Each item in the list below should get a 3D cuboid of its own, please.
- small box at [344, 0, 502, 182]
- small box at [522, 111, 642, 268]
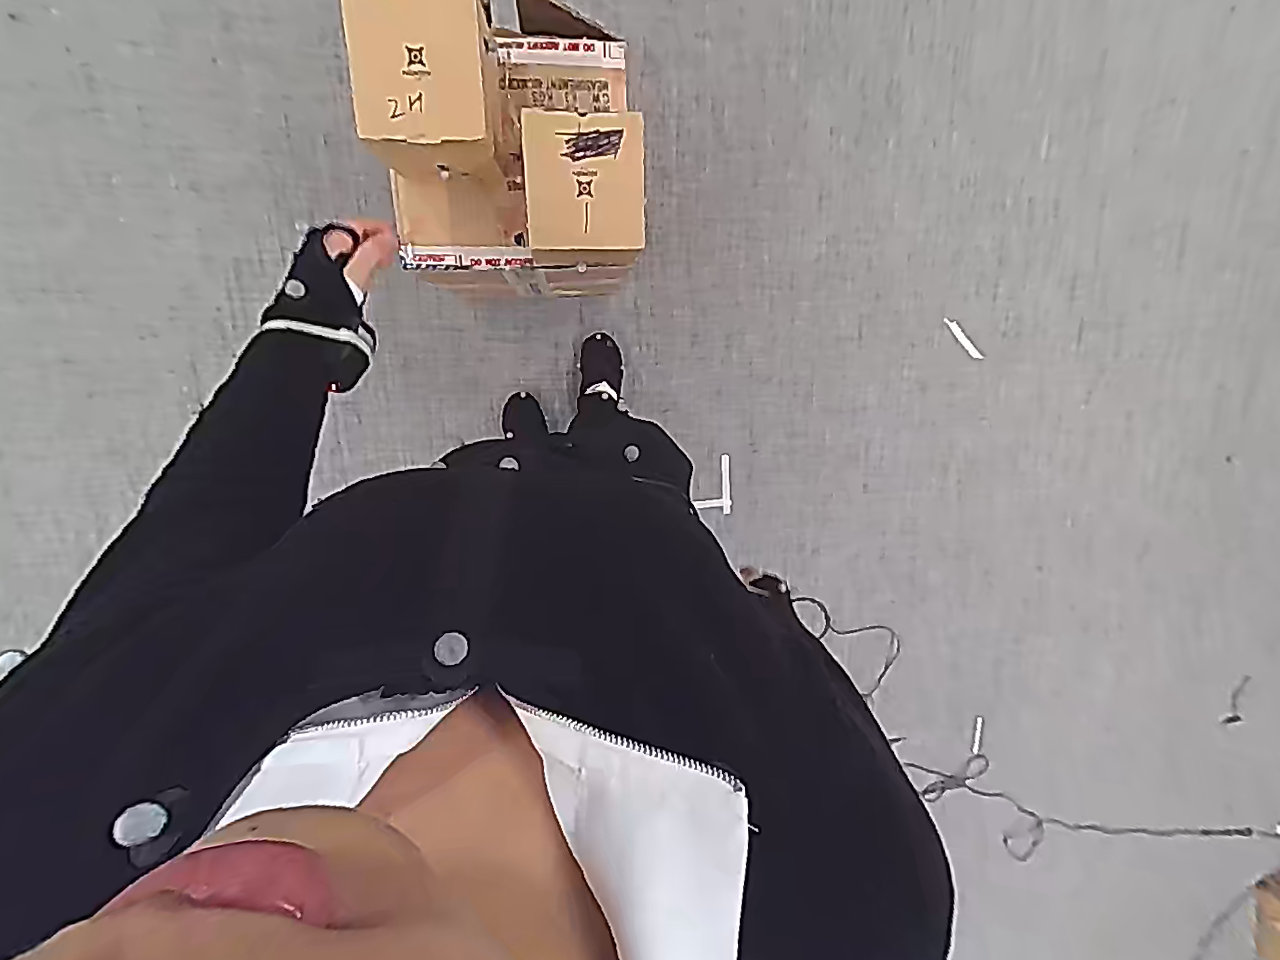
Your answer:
[{"bbox_3d":[-0.295,-0.548,0.769,0.168,0.176,0.179,-2,105,-5],"label":"small box"},{"bbox_3d":[-0.090,-0.429,0.826,0.168,0.176,0.179,-3,105,-8],"label":"small box"}]
